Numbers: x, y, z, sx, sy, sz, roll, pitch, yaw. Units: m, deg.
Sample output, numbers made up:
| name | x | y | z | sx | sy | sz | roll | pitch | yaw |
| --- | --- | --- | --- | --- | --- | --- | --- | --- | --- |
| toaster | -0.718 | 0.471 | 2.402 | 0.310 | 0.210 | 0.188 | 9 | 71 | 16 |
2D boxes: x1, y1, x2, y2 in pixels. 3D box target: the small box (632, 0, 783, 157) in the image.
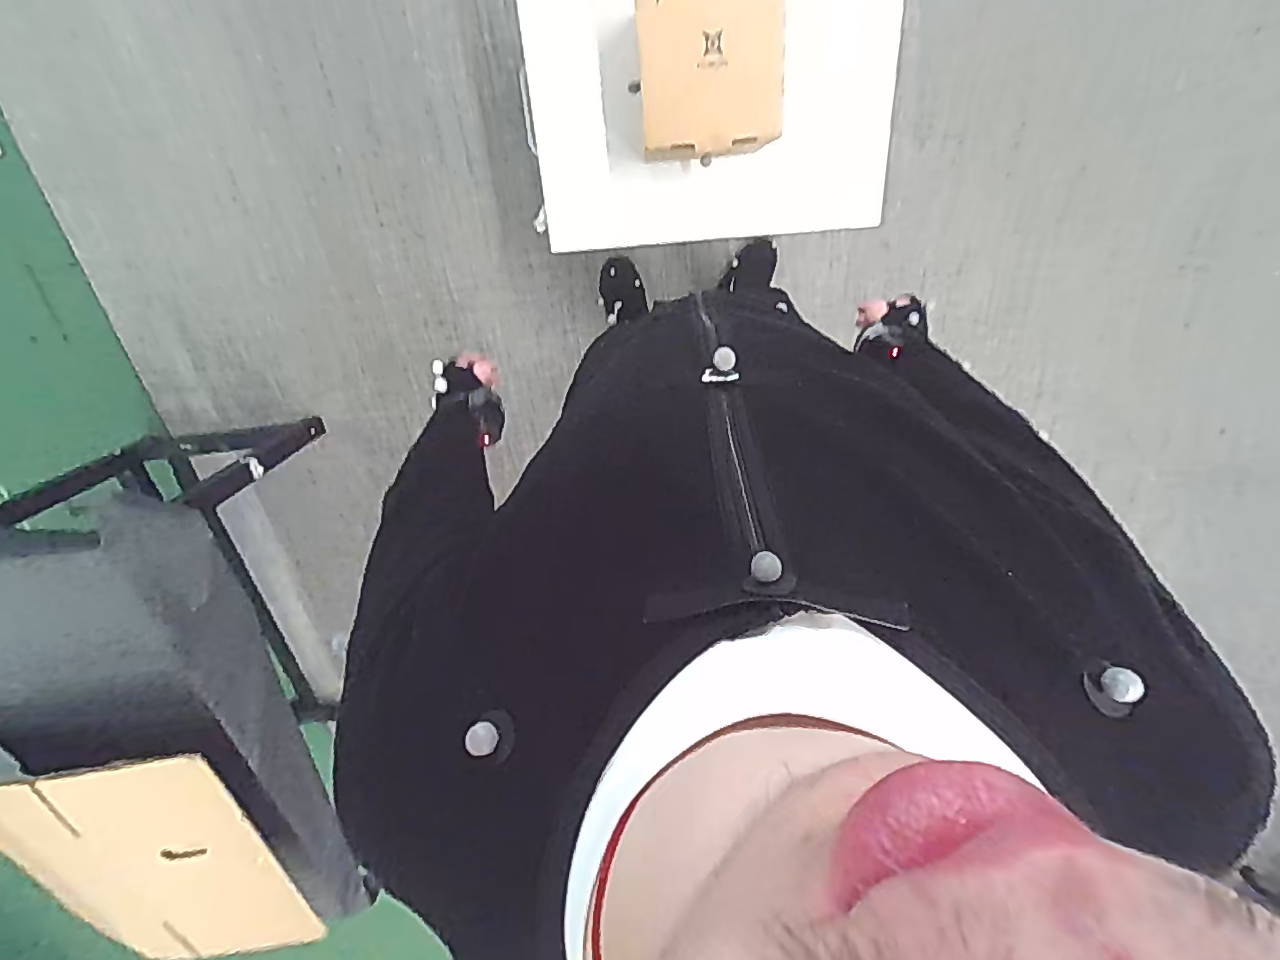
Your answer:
| name | x | y | z | sx | sy | sz | roll | pitch | yaw |
| --- | --- | --- | --- | --- | --- | --- | --- | --- | --- |
| small box | 0.081 | -0.518 | 0.680 | 0.168 | 0.176 | 0.179 | -5 | 115 | 4 |
